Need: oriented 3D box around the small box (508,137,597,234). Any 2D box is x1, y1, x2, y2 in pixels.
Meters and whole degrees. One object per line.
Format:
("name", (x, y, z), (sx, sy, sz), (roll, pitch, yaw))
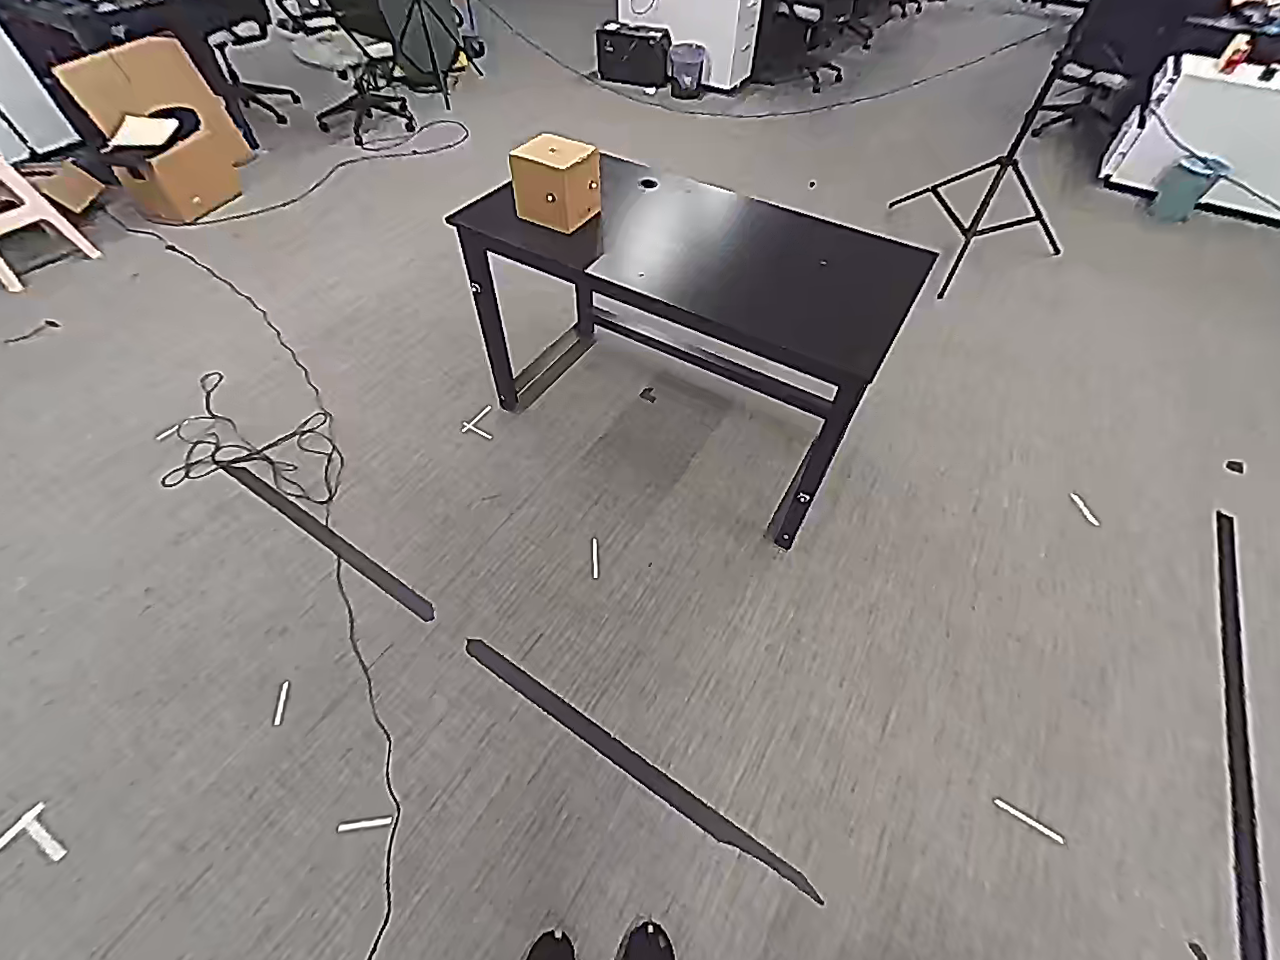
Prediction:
("small box", (-0.227, -0.792, 1.464), (0.179, 0.176, 0.168), (24, 54, 17))
